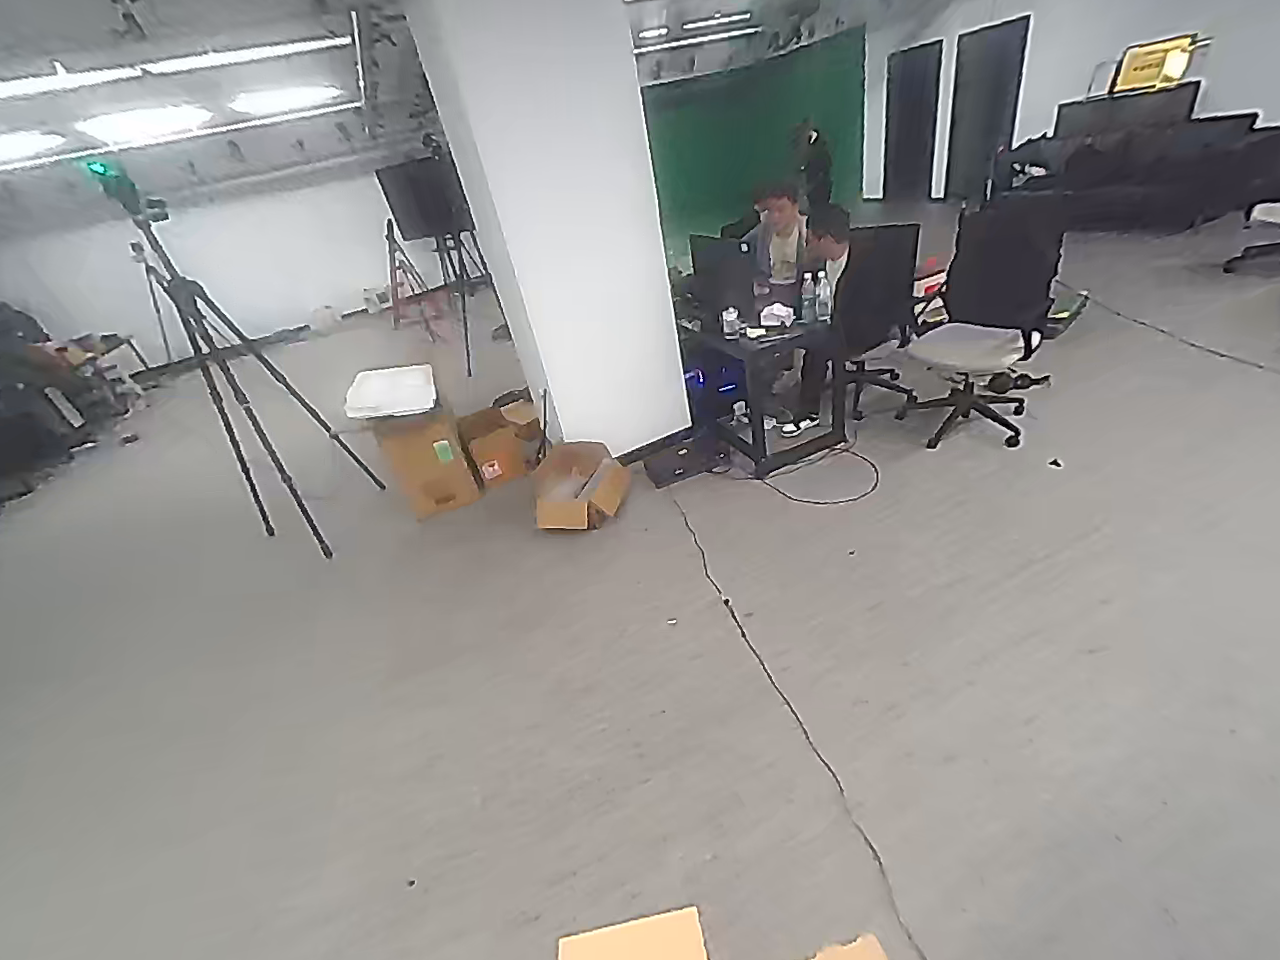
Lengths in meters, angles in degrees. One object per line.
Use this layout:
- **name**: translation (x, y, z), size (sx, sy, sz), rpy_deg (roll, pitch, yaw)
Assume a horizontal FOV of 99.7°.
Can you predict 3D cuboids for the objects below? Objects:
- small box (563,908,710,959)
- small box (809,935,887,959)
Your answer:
- **small box**: translation (0.009, 0.625, 0.605), size (0.168, 0.176, 0.179), rpy_deg (-10, 37, -4)
- **small box**: translation (0.348, 0.888, 0.860), size (0.168, 0.176, 0.179), rpy_deg (-17, 30, -6)
